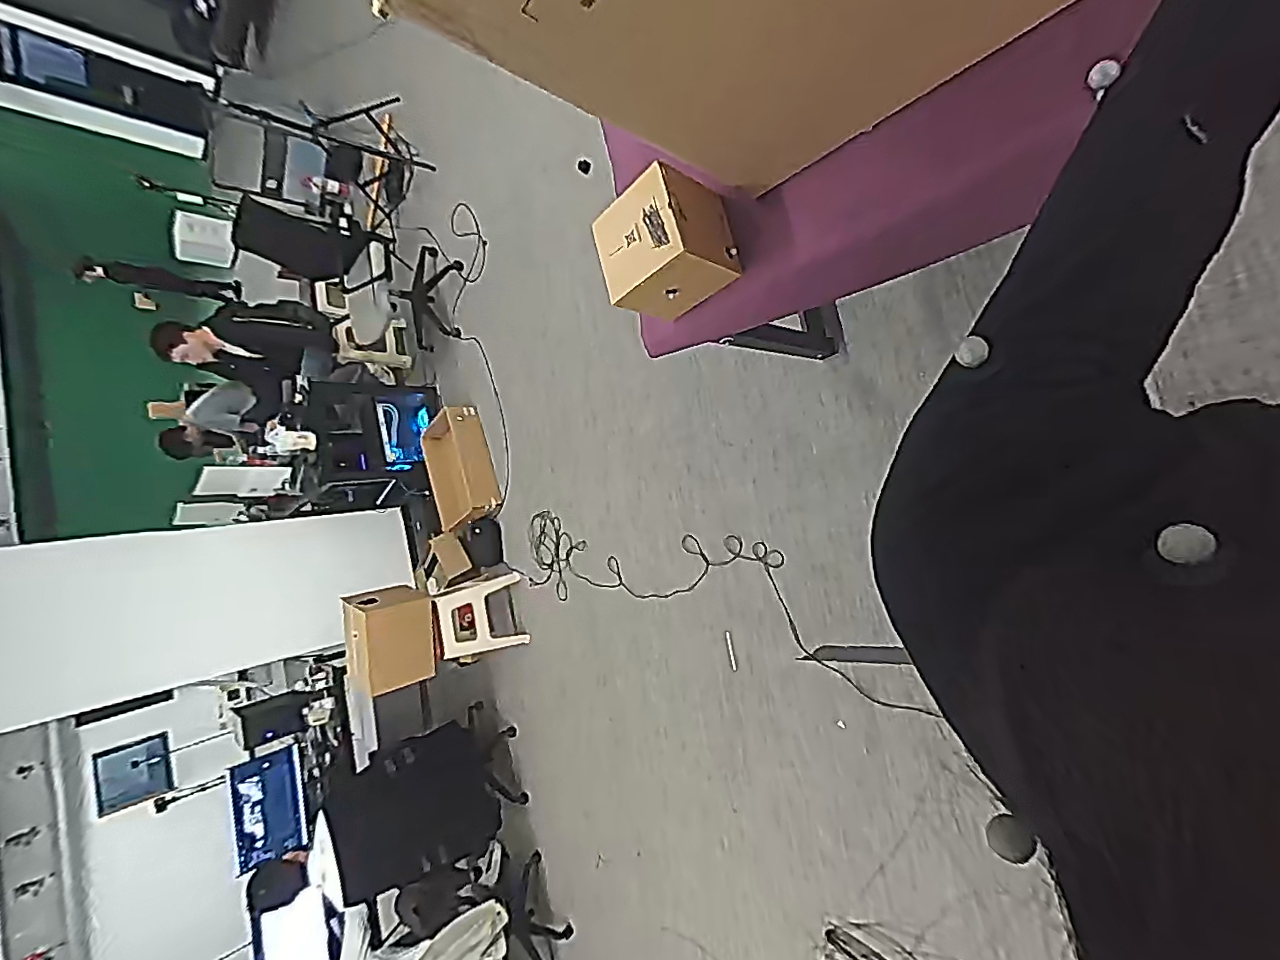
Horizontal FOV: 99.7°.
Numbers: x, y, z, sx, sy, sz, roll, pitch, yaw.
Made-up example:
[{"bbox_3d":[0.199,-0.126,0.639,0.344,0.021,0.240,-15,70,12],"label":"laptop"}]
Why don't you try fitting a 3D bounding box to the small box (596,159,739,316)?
[{"bbox_3d":[0.055,-0.411,0.952,0.179,0.176,0.168,-23,77,43],"label":"small box"}]
